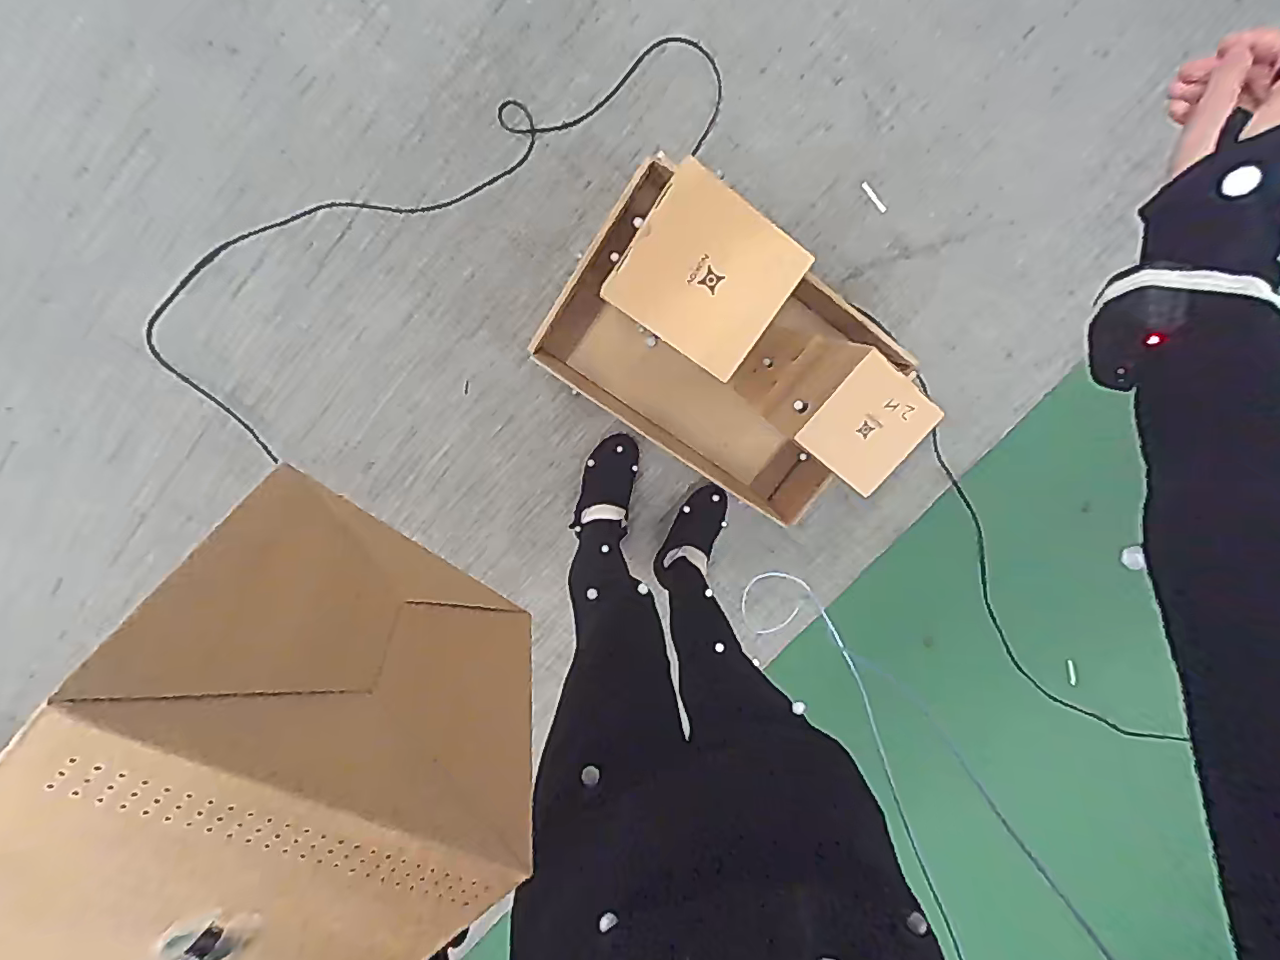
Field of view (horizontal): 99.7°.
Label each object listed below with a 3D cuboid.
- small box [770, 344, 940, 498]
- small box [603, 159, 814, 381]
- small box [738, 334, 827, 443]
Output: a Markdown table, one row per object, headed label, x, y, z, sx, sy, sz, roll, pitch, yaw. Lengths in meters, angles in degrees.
| label | x | y | z | sx | sy | sz | roll | pitch | yaw |
| --- | --- | --- | --- | --- | --- | --- | --- | --- | --- |
| small box | 0.338 | -0.105 | 0.897 | 0.168 | 0.176 | 0.179 | 37 | 101 | -15 |
| small box | 0.071 | -0.248 | 0.662 | 0.179 | 0.176 | 0.168 | 33 | 105 | -12 |
| small box | 0.316 | -0.165 | 1.049 | 0.179 | 0.176 | 0.168 | 37 | 102 | -14 |
